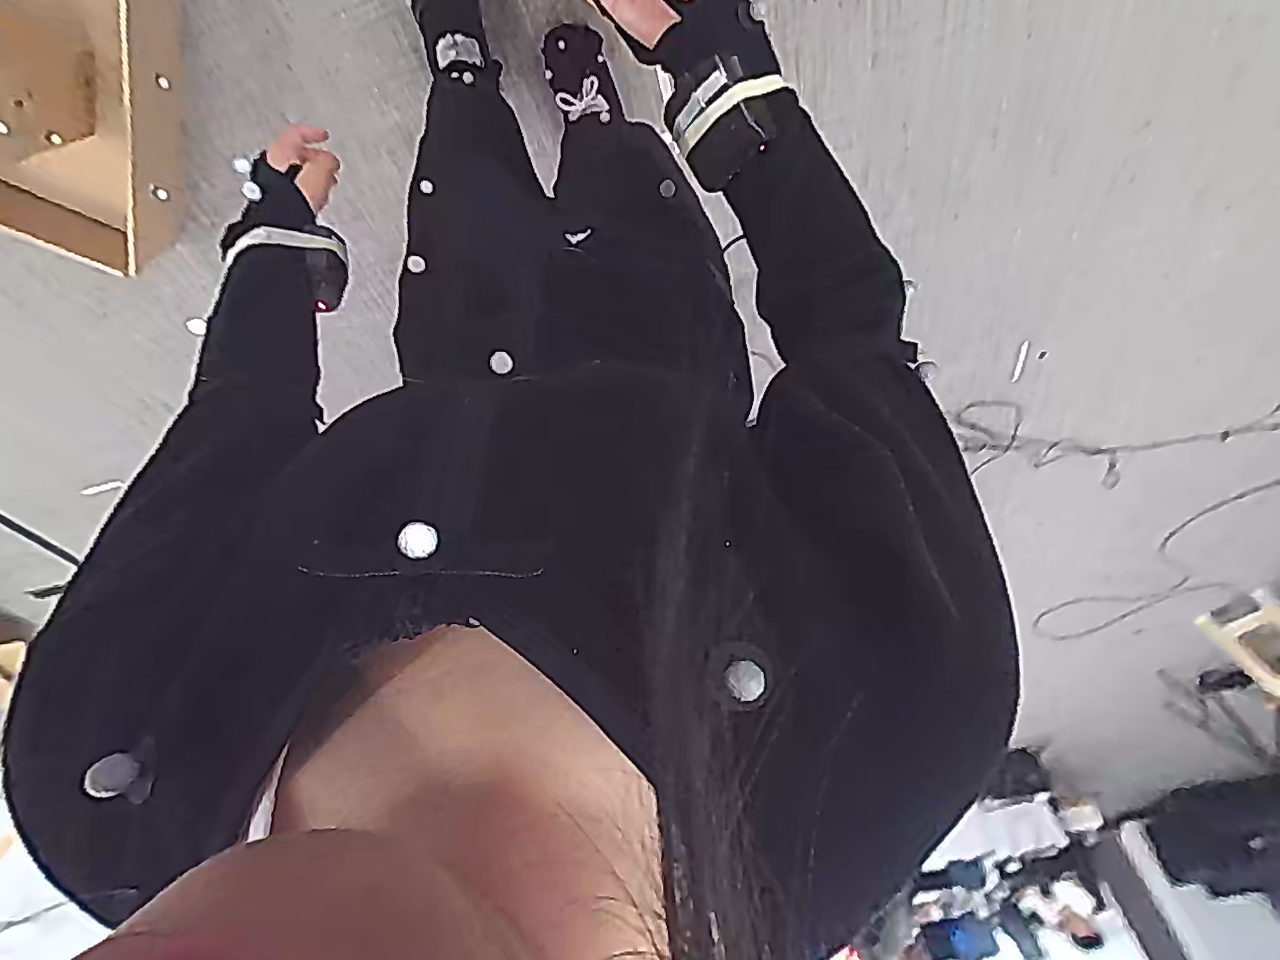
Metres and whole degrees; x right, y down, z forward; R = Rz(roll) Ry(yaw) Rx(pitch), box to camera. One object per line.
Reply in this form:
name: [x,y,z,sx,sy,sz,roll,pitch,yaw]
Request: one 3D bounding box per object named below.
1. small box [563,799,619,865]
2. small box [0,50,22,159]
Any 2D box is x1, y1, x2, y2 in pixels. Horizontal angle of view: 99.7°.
small box: [-0.180,1.320,2.028,0.168,0.176,0.179,-14,133,6]
small box: [-1.080,-0.589,0.798,0.179,0.176,0.168,25,126,-27]
